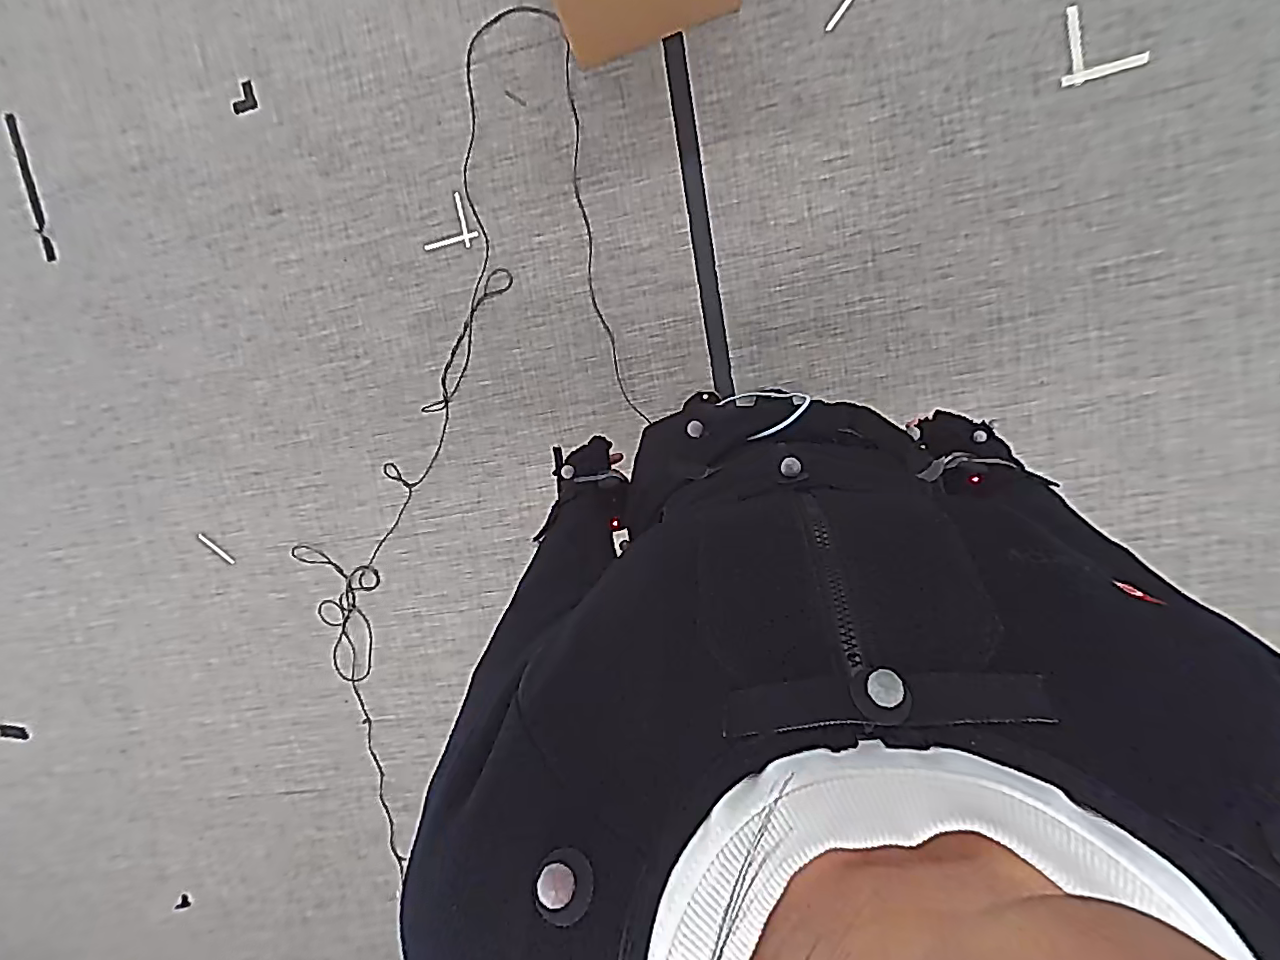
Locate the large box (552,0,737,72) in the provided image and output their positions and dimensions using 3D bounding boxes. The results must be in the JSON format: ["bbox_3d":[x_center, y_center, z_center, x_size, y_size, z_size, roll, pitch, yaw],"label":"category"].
[{"bbox_3d":[-0.021,-1.164,1.126,0.408,0.320,0.320,-16,99,8],"label":"large box"}]
